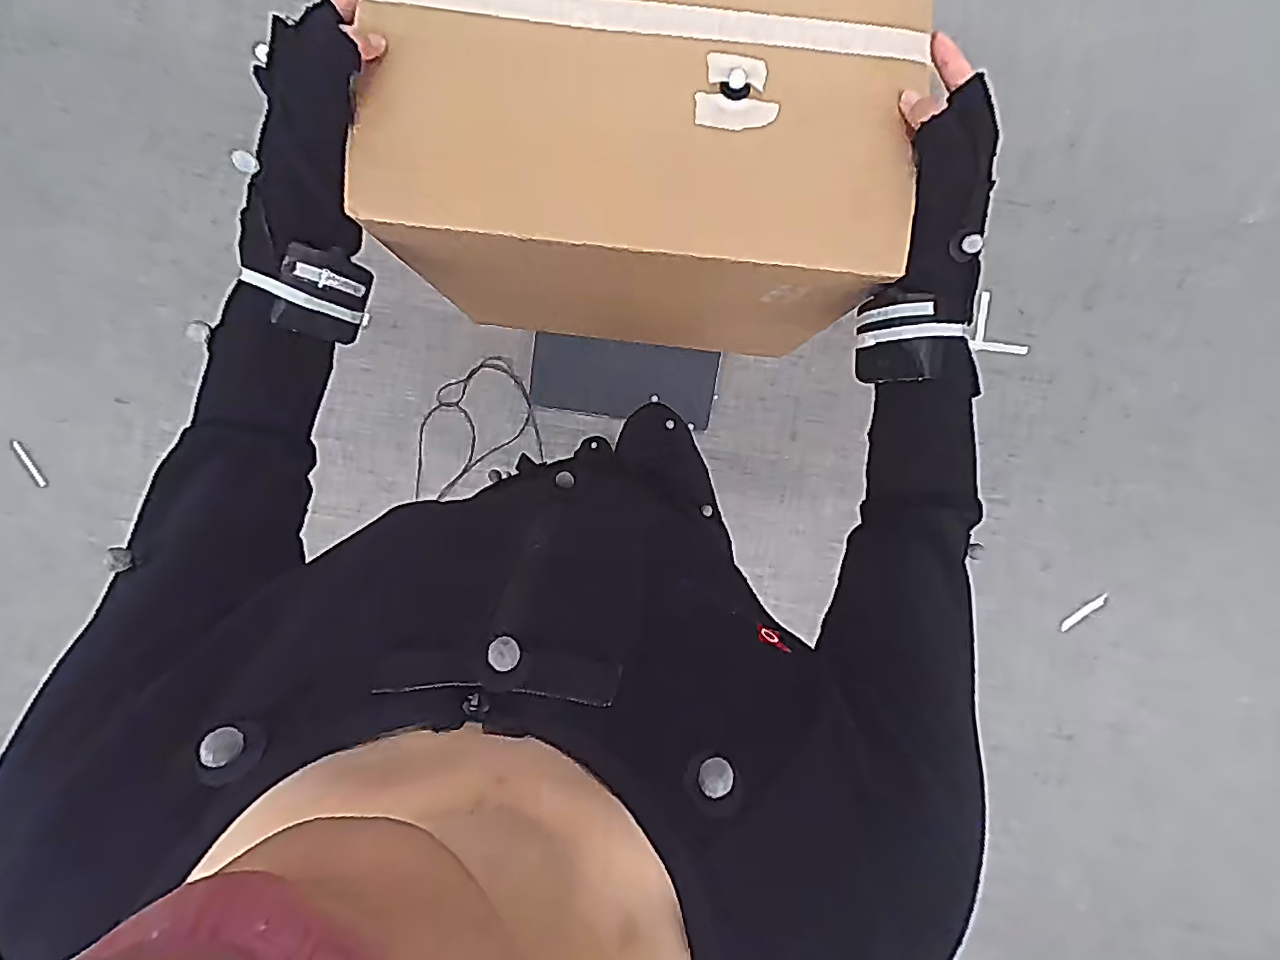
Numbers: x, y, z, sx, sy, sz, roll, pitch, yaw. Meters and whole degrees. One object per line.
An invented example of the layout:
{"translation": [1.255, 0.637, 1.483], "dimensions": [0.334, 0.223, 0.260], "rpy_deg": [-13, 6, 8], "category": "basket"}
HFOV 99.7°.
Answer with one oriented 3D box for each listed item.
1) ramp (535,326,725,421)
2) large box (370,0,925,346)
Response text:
{"translation": [0.027, -0.670, 1.361], "dimensions": [0.509, 0.206, 0.991], "rpy_deg": [7, 93, -2], "category": "ramp"}
{"translation": [0.005, -0.336, 0.547], "dimensions": [0.408, 0.320, 0.320], "rpy_deg": [6, 92, -1], "category": "large box"}
